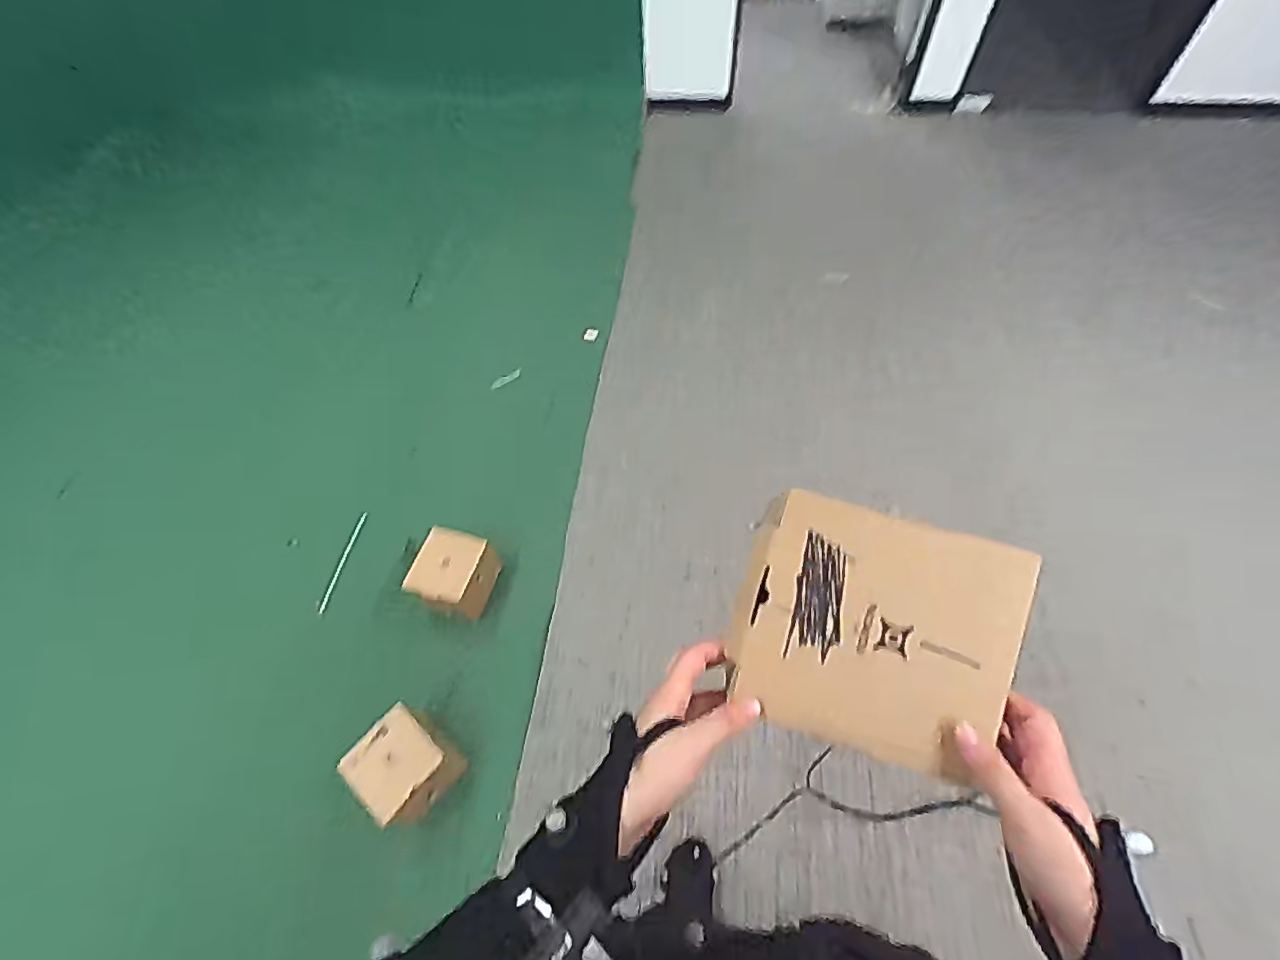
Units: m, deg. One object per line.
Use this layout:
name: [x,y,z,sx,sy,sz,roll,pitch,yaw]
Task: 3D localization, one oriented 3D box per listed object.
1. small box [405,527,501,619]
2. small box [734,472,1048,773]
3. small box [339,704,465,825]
small box: [-0.499,0.258,1.477,0.168,0.176,0.179,13,57,9]
small box: [0.183,0.103,0.452,0.179,0.176,0.168,16,86,8]
small box: [-0.528,0.643,1.226,0.179,0.176,0.168,36,65,22]
